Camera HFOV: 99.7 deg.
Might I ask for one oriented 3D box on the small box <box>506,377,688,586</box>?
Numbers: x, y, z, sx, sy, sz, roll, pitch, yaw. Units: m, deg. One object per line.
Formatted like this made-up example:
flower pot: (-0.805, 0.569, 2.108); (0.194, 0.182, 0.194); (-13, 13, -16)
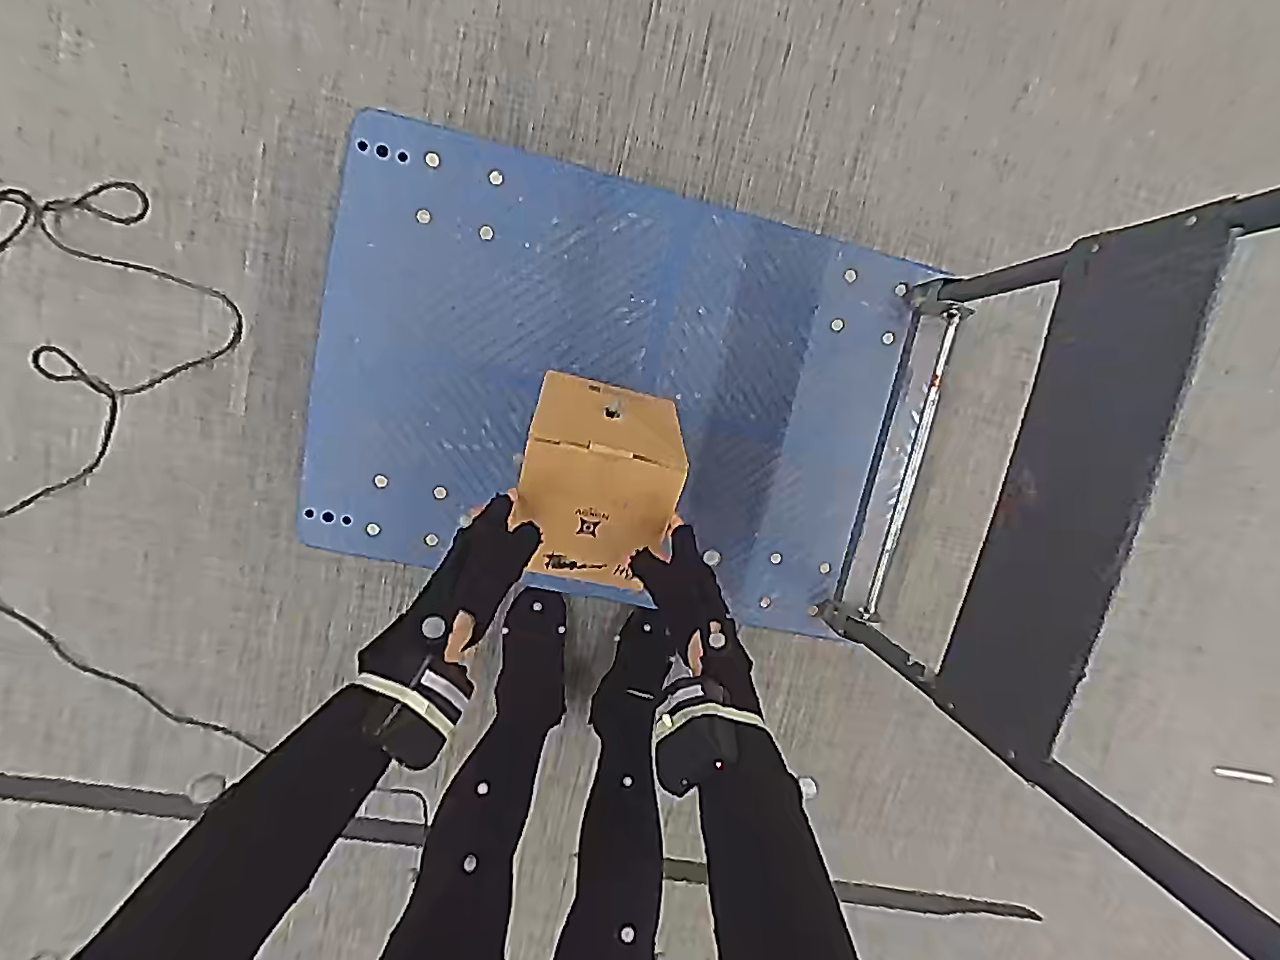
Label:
small box: (-0.055, -0.004, 0.649); (0.168, 0.176, 0.179); (12, 120, -10)
